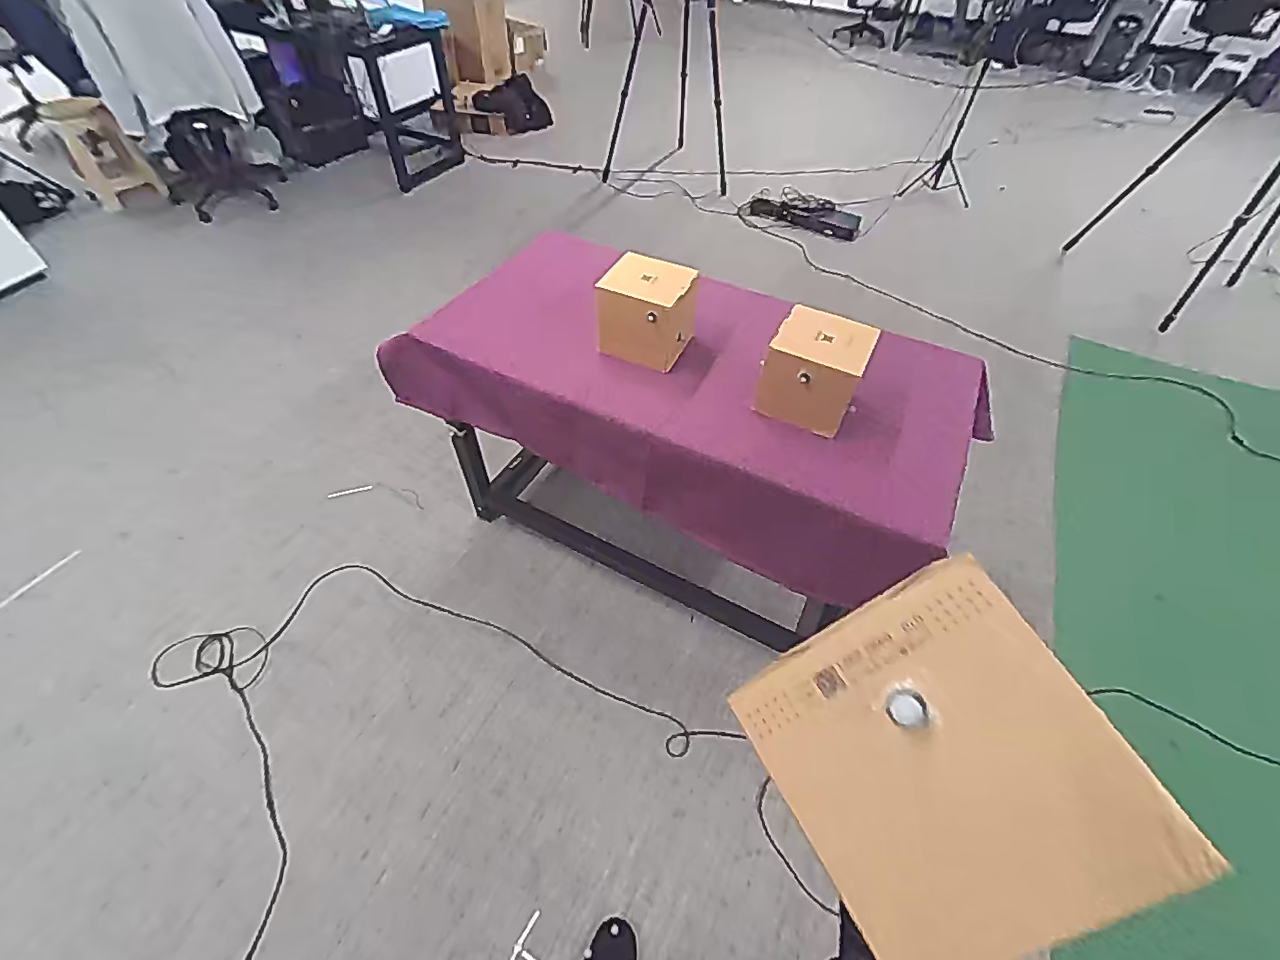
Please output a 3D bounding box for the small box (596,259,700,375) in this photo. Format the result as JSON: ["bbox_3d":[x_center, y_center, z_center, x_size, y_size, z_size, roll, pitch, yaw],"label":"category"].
[{"bbox_3d":[0.015,-0.359,1.201,0.179,0.176,0.168,20,52,13],"label":"small box"}]

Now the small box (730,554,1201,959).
[{"bbox_3d":[0.187,0.165,0.368,0.168,0.179,0.176,-38,66,12],"label":"small box"}]

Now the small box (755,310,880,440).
[{"bbox_3d":[0.347,-0.206,1.082,0.179,0.176,0.168,24,54,17],"label":"small box"}]
